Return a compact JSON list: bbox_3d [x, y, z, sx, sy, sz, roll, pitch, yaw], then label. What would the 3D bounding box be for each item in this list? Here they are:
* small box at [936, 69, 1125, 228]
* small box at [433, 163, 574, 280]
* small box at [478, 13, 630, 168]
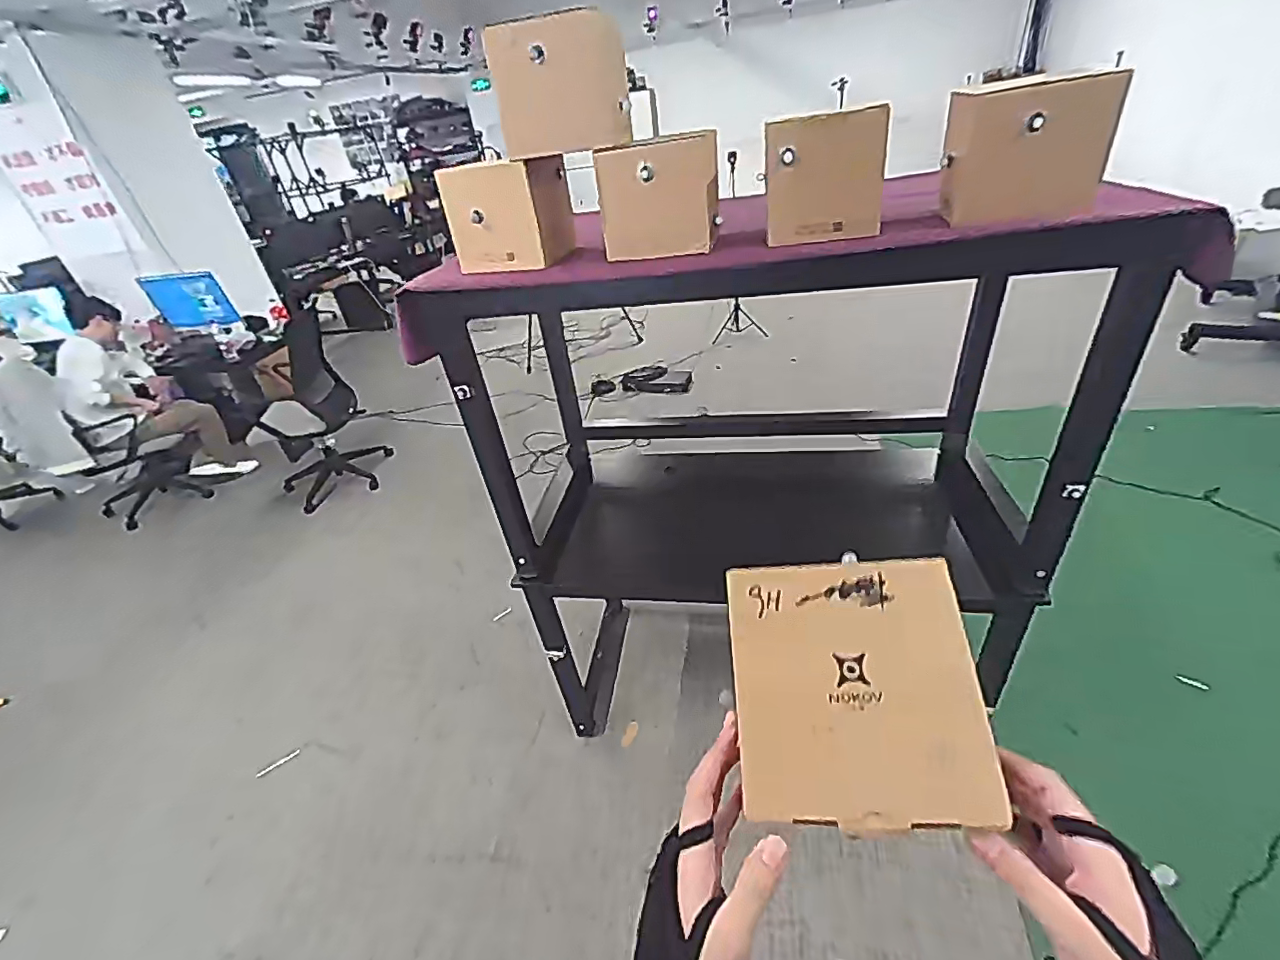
[{"bbox_3d":[0.546,-0.479,0.791,0.179,0.176,0.168,1,36,17],"label":"small box"},{"bbox_3d":[-0.232,-0.465,0.976,0.168,0.176,0.179,1,33,16],"label":"small box"},{"bbox_3d":[-0.123,-0.599,0.851,0.179,0.176,0.168,-1,34,11],"label":"small box"}]
